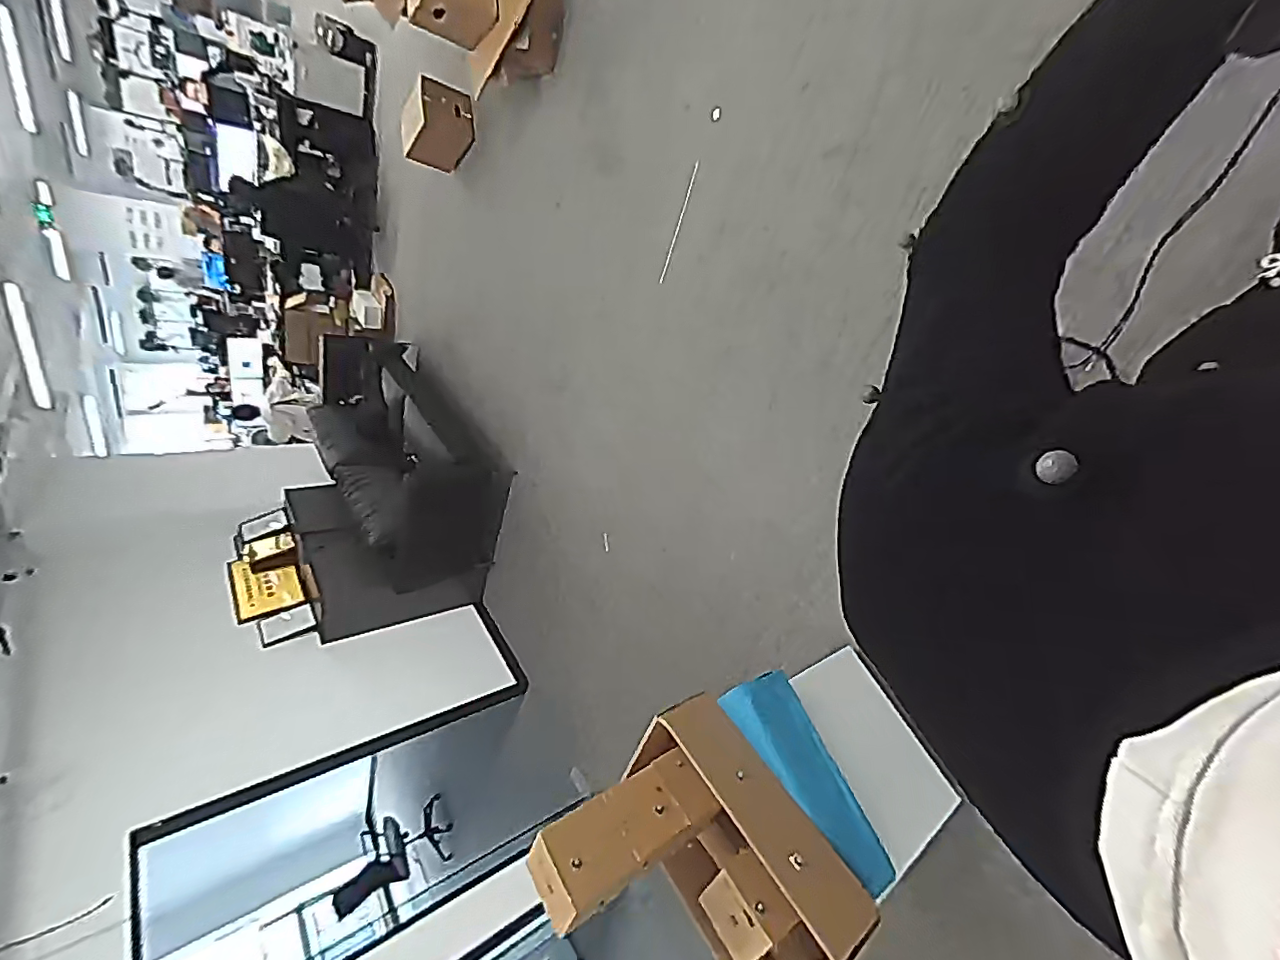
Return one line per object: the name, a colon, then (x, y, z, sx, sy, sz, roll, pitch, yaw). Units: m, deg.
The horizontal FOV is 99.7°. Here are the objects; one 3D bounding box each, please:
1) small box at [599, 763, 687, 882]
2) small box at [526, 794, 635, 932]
small box: (-0.009, 0.850, 1.346, 0.168, 0.176, 0.179, 47, 131, 35)
small box: (-0.136, 0.871, 1.243, 0.179, 0.176, 0.168, 47, 130, 35)
